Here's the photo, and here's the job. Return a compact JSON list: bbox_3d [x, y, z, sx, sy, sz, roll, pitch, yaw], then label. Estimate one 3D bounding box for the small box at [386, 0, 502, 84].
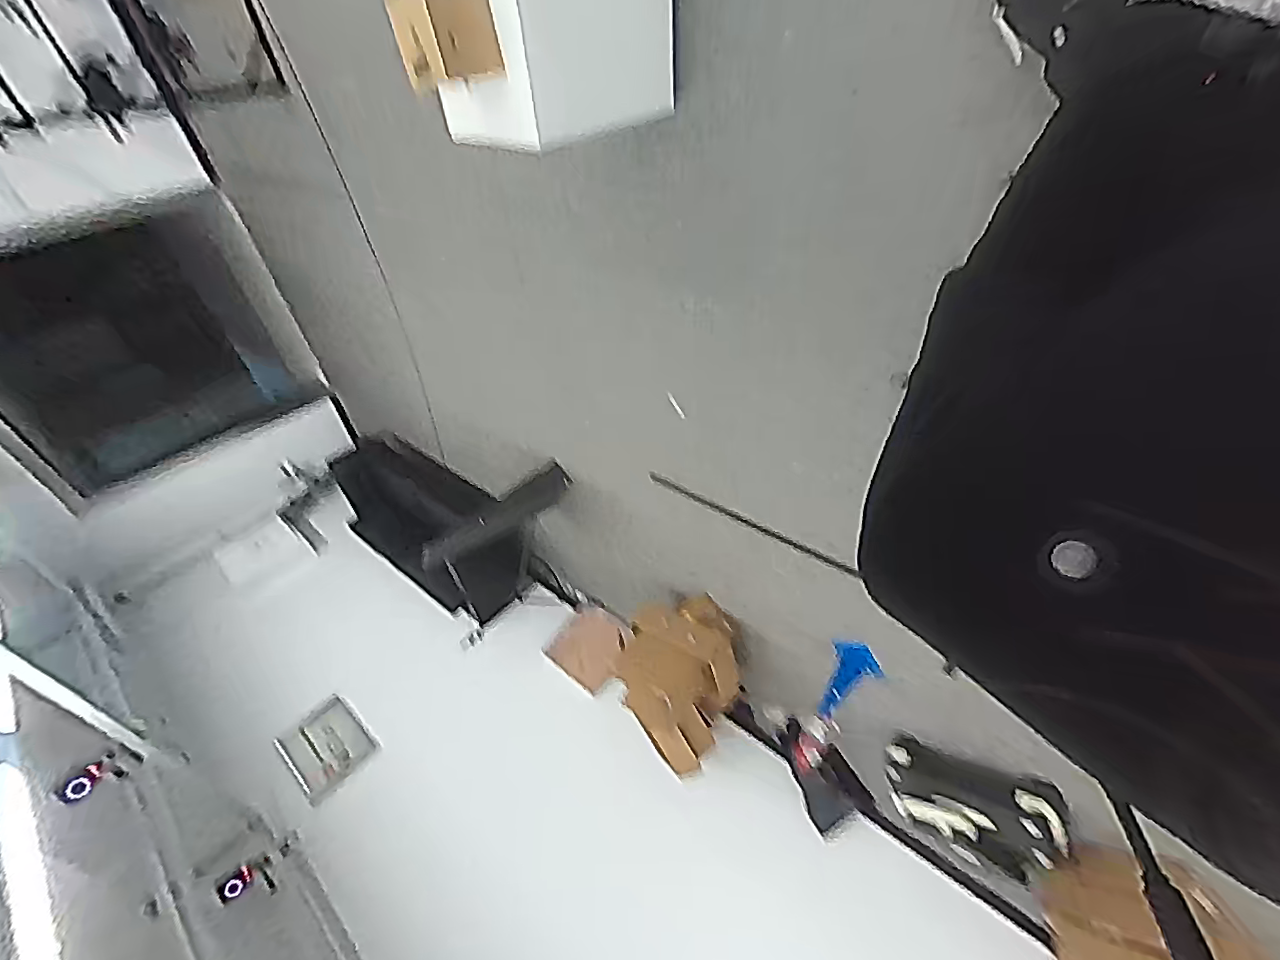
[{"bbox_3d":[-0.448,-1.047,1.255,0.168,0.176,0.179,23,138,36],"label":"small box"}]
